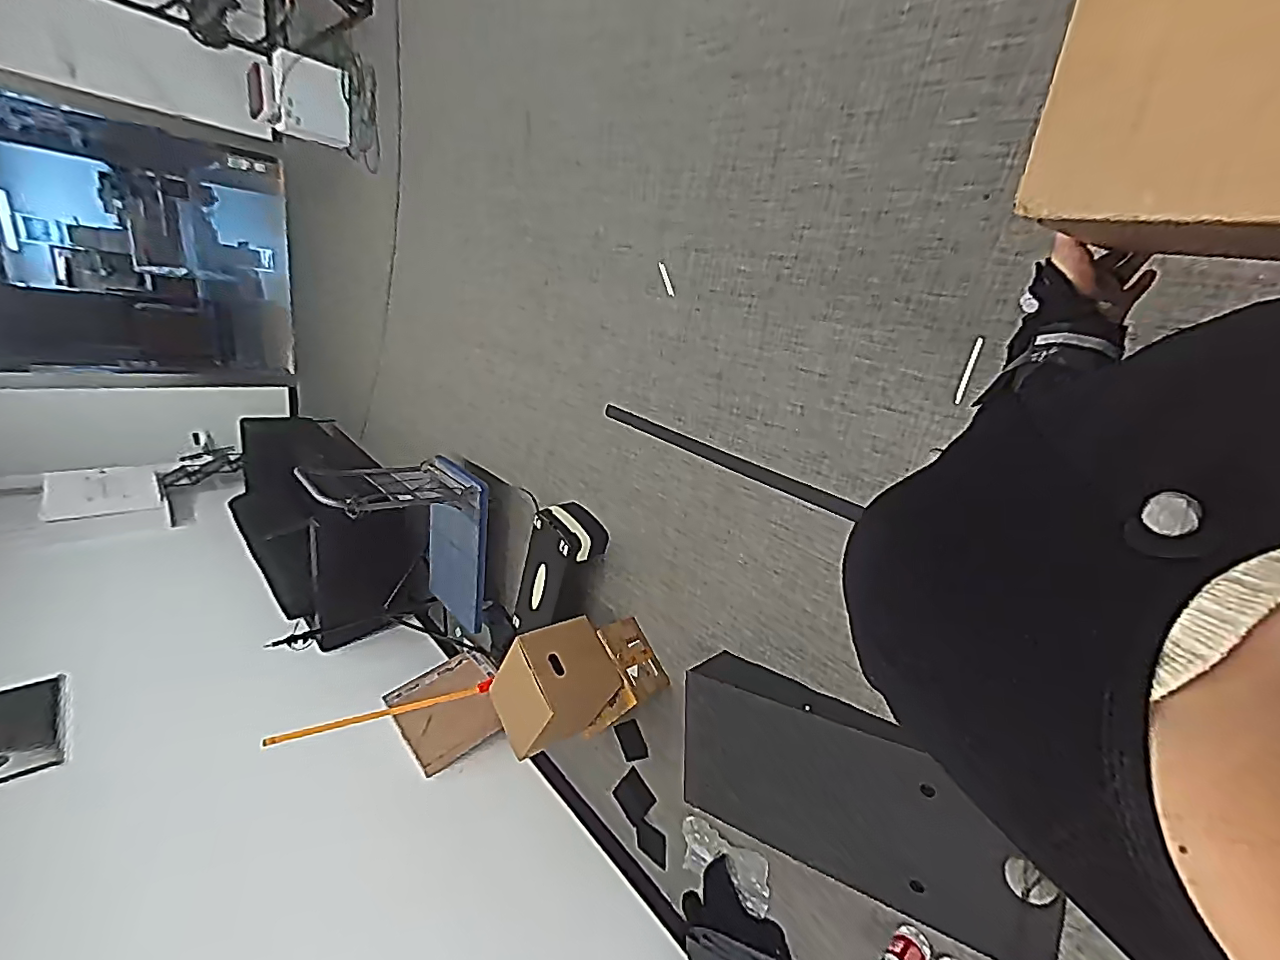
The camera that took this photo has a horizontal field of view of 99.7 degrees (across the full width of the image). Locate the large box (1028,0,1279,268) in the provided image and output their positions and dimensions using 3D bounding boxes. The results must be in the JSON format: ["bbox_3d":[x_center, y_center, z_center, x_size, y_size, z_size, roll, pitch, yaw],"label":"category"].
[{"bbox_3d":[0.488,-0.265,0.247,0.408,0.320,0.320,25,121,40],"label":"large box"}]
